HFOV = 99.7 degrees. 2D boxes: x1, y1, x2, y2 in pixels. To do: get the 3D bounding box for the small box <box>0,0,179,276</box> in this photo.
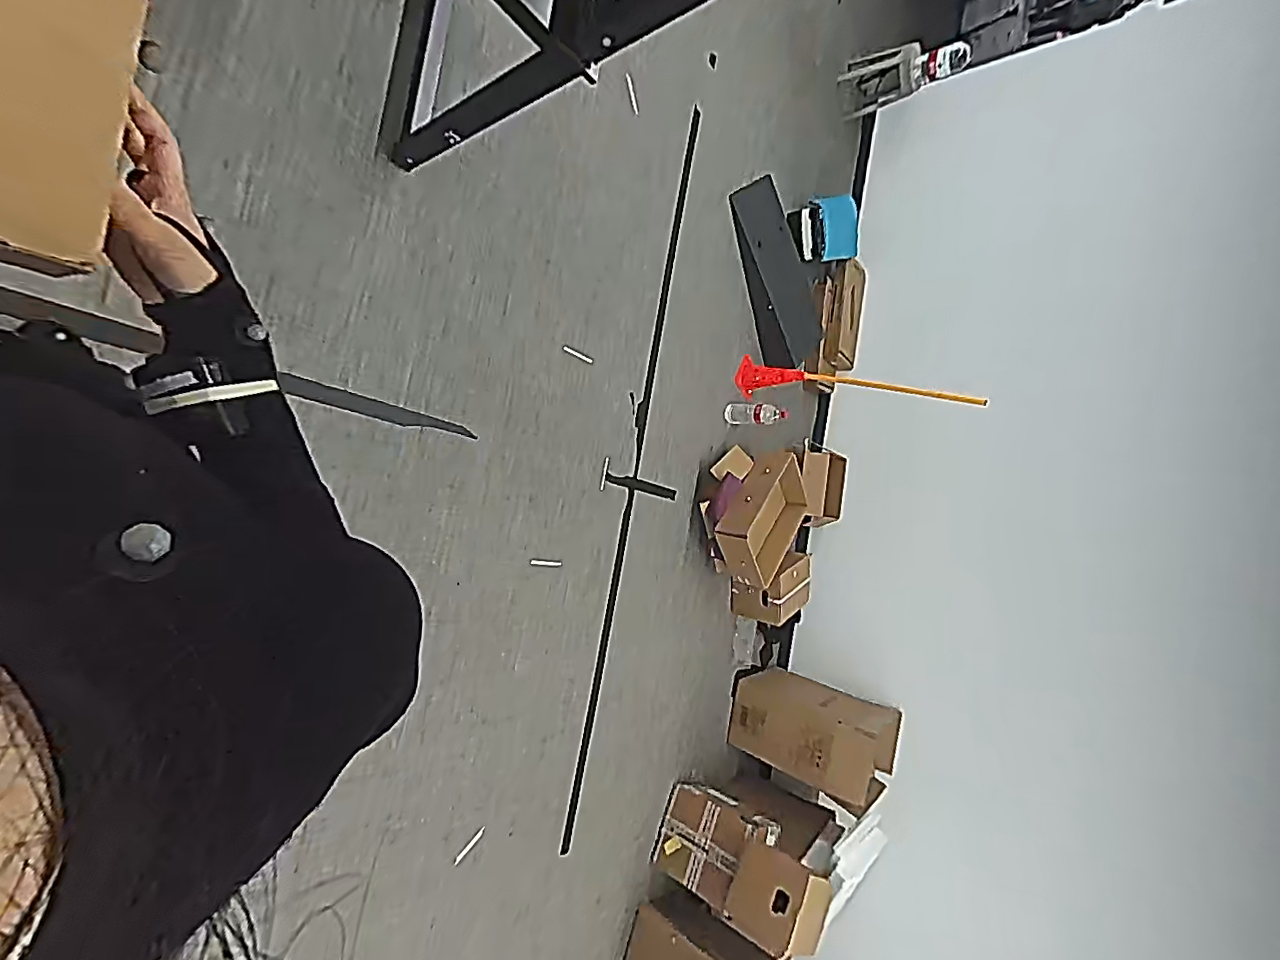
[{"bbox_3d":[-0.360,-0.216,0.261,0.168,0.176,0.179,10,95,-53],"label":"small box"}]
